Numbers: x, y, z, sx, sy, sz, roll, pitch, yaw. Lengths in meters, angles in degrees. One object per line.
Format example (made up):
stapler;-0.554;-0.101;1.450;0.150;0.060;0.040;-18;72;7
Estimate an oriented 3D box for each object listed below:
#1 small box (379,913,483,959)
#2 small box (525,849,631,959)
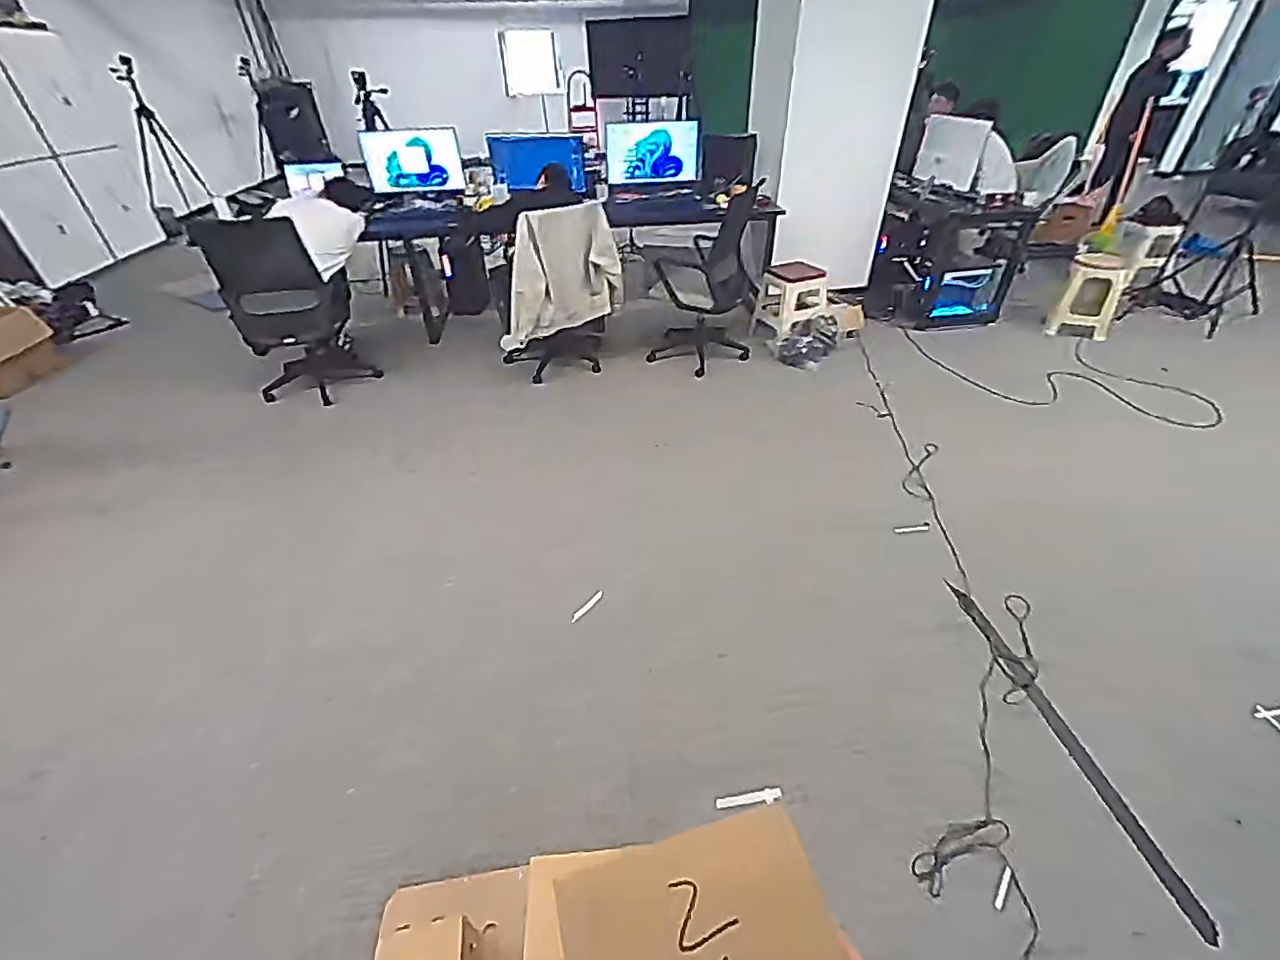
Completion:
small box;-0.407;0.998;1.058;0.168;0.176;0.179;-10;38;-9
small box;-0.109;0.819;1.007;0.179;0.176;0.168;-3;38;-3
